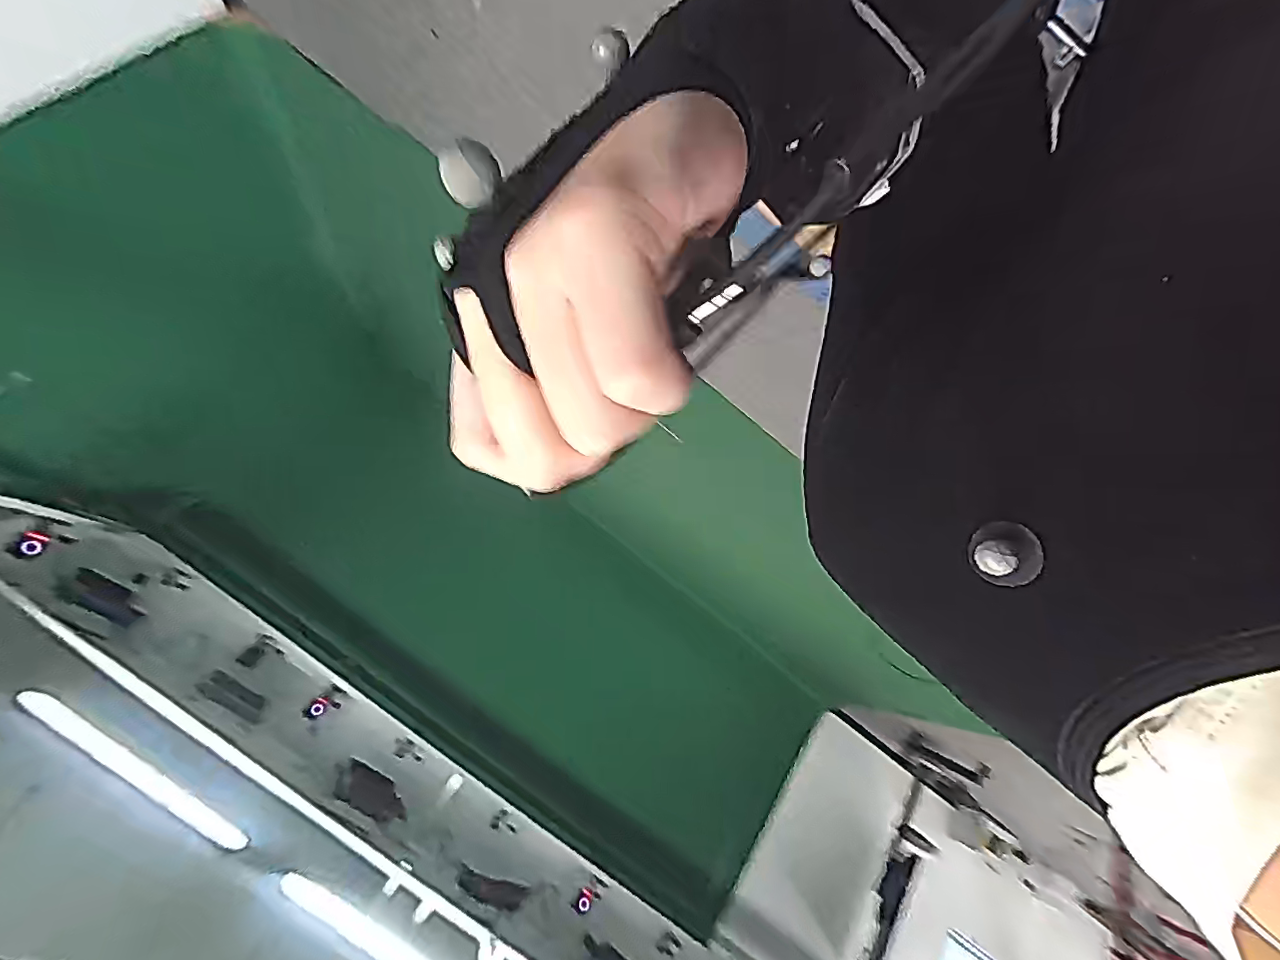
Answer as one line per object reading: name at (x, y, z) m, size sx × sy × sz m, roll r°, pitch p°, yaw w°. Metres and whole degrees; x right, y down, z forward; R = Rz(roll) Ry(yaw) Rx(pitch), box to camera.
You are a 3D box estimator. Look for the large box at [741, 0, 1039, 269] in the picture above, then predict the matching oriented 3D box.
large box at (0.484, -0.739, 1.106) m, size 0.320 × 0.320 × 0.408 m, roll 40°, pitch 158°, yaw -5°
